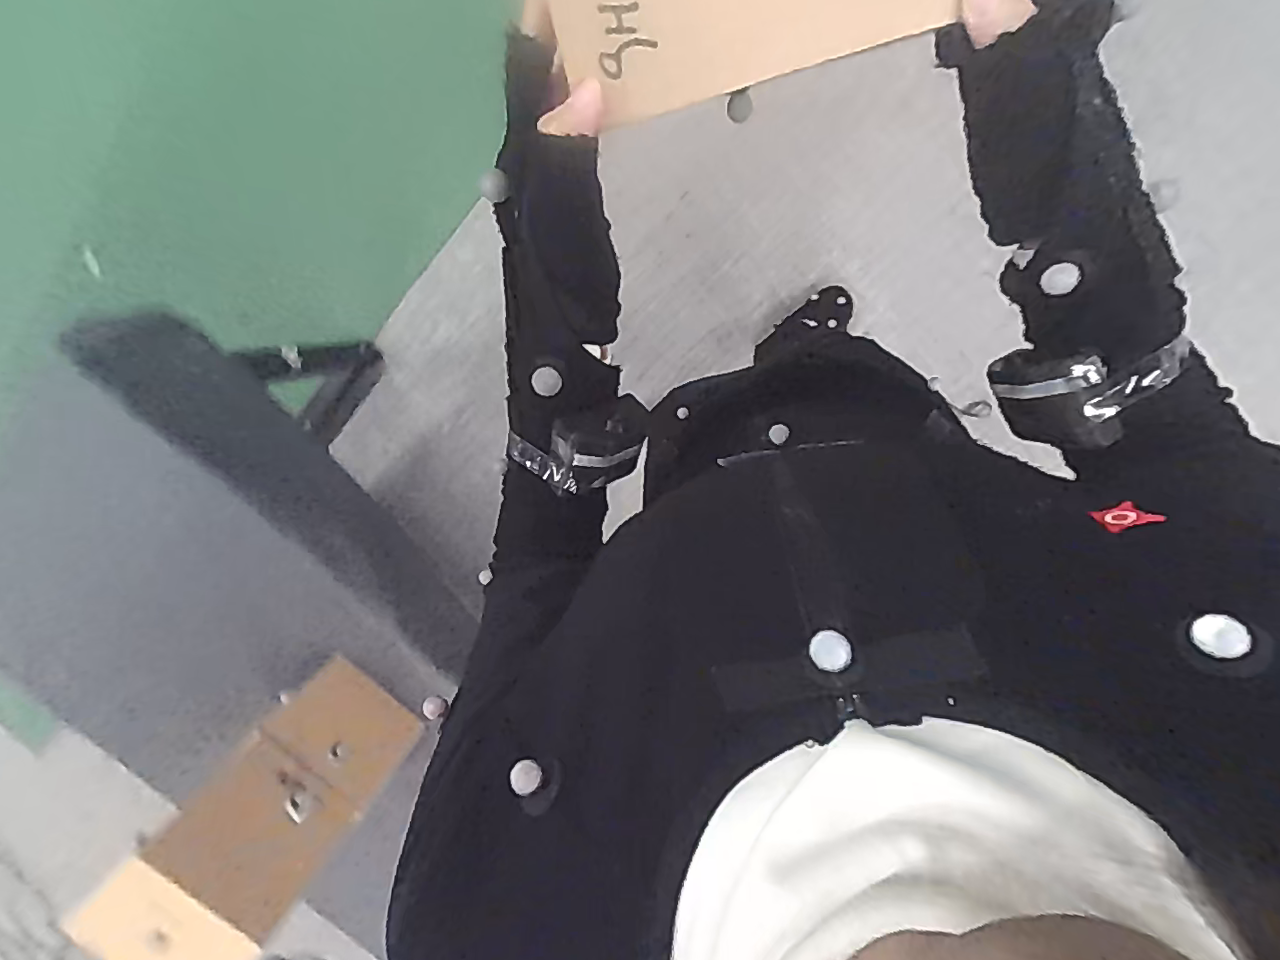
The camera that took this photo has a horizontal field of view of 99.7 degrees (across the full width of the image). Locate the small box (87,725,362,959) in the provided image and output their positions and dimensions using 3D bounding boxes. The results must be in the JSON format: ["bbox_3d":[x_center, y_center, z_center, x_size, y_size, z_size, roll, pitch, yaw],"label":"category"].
[{"bbox_3d":[-0.482,0.444,0.654,0.168,0.176,0.179,43,106,-8],"label":"small box"}]

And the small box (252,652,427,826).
[{"bbox_3d":[-0.458,0.397,0.806,0.179,0.176,0.168,43,107,-6],"label":"small box"}]
